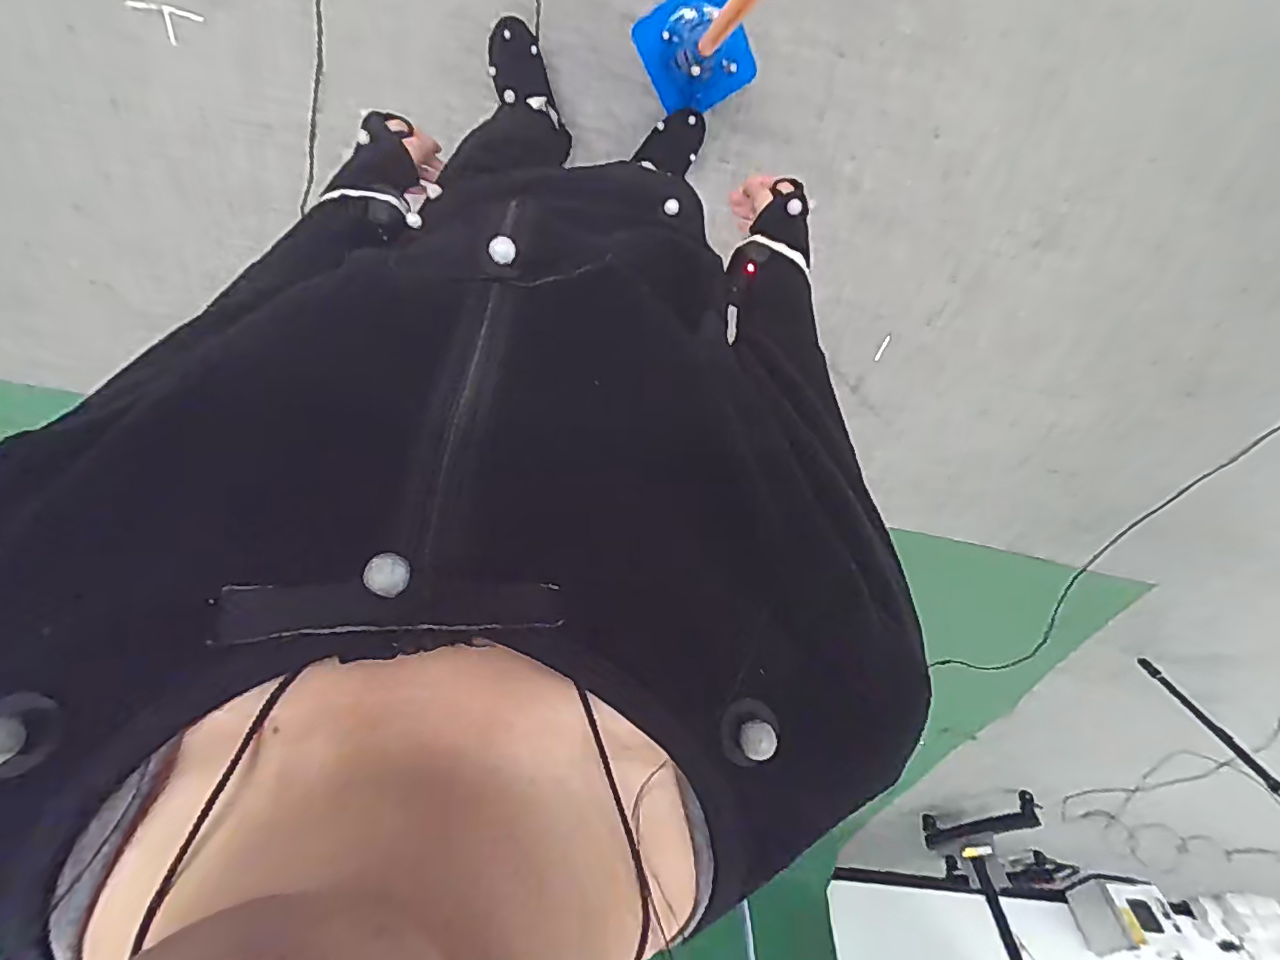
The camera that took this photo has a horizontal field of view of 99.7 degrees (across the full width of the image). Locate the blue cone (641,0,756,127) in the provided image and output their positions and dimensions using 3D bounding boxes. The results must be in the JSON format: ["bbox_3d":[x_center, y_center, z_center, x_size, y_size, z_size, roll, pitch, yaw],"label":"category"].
[{"bbox_3d":[0.112,-0.741,0.936,0.193,0.380,0.192,-25,123,18],"label":"blue cone"}]
